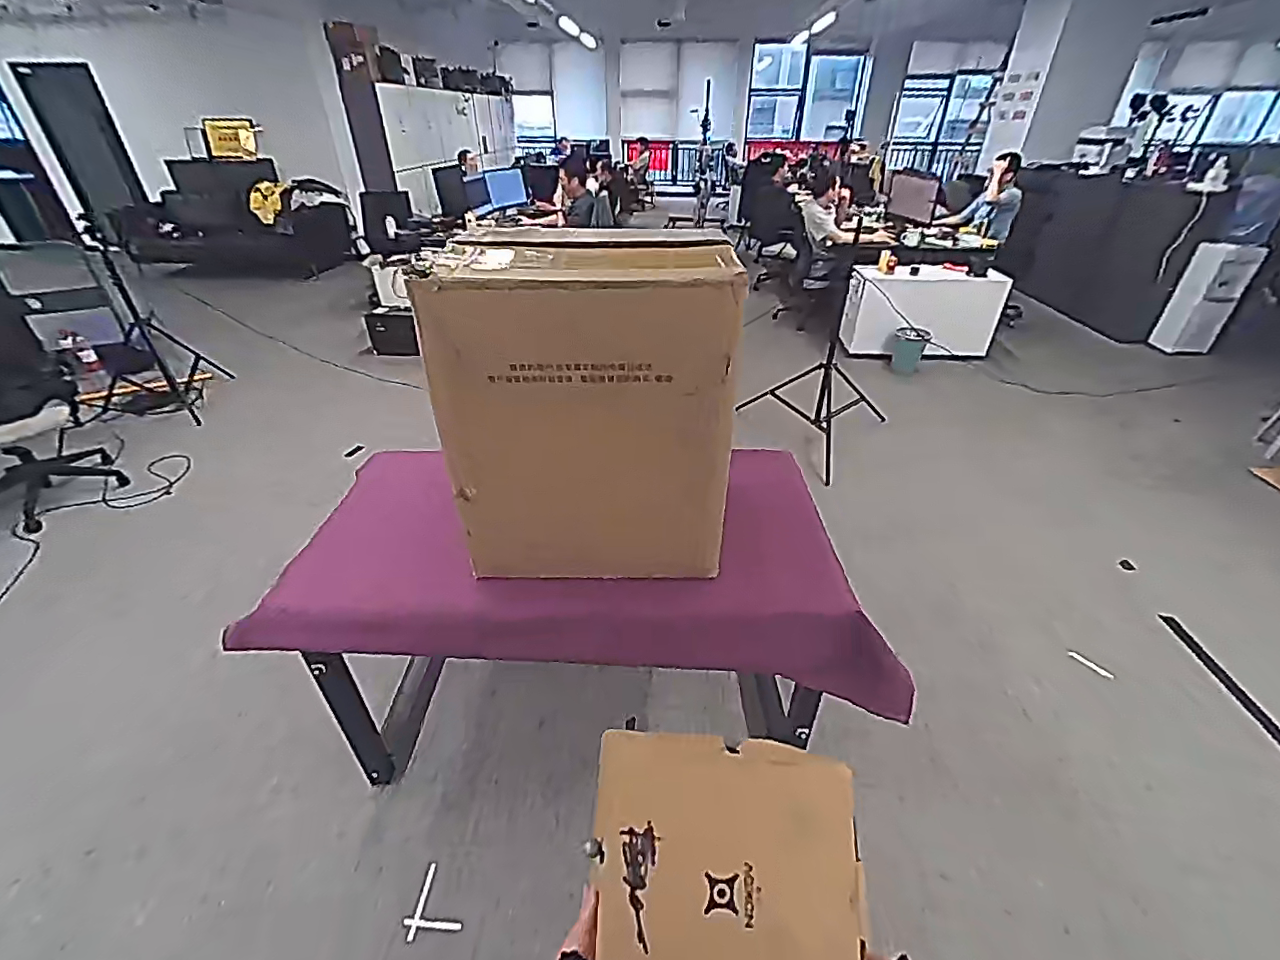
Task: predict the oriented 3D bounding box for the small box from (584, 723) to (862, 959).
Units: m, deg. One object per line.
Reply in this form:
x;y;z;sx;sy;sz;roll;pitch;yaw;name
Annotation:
0.052;0.293;0.433;0.179;0.176;0.168;6;68;-5;small box
